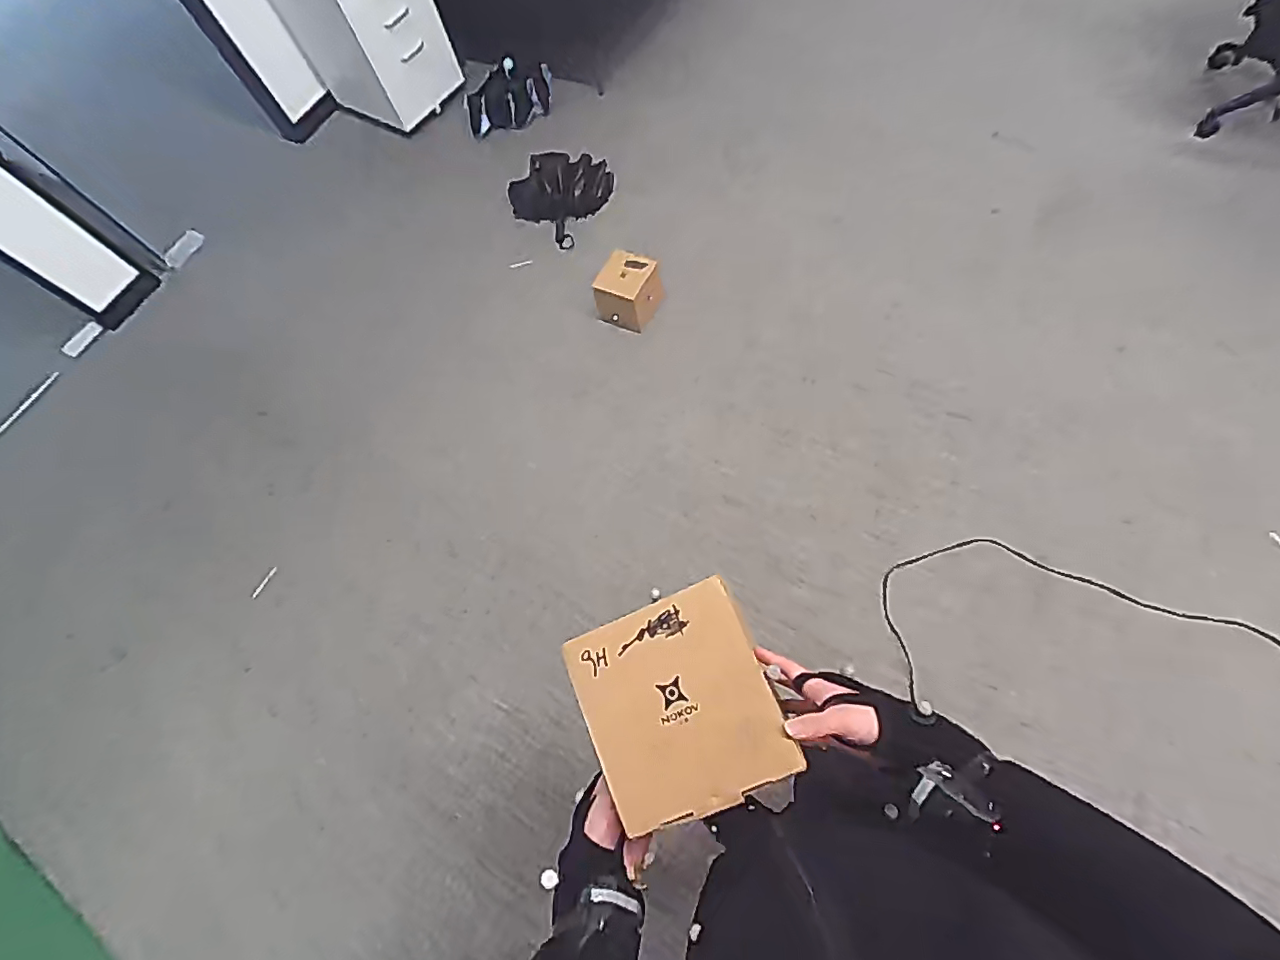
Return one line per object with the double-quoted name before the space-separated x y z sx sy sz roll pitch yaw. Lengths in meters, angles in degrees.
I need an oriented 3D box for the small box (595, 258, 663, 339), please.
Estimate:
"small box" -0.030 -0.623 1.863 0.168 0.176 0.179 24 74 19
